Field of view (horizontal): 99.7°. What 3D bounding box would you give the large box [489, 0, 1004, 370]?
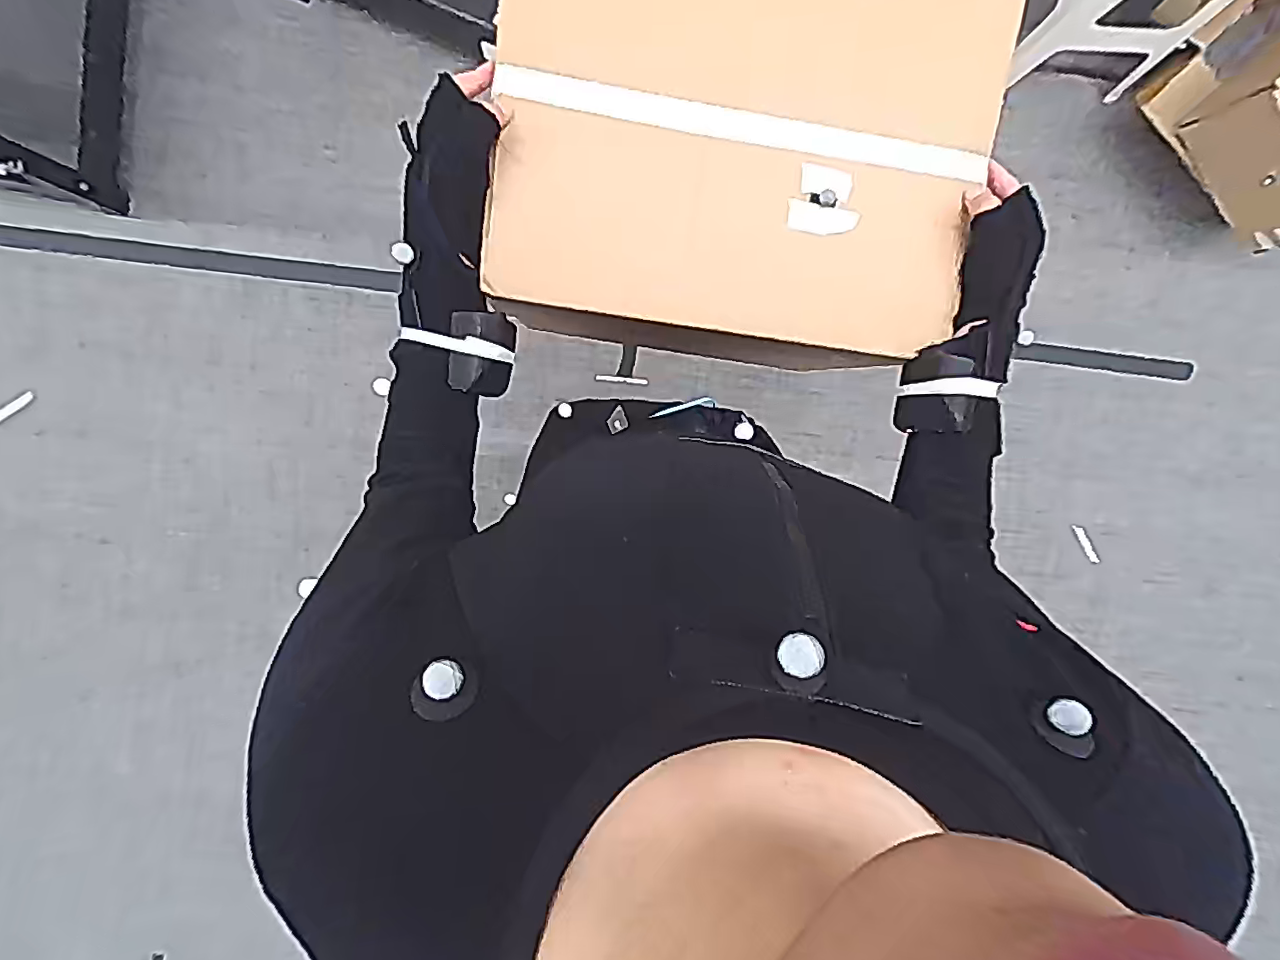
[{"bbox_3d":[0.071,-0.302,0.590,0.408,0.320,0.320,7,101,-7],"label":"large box"}]
